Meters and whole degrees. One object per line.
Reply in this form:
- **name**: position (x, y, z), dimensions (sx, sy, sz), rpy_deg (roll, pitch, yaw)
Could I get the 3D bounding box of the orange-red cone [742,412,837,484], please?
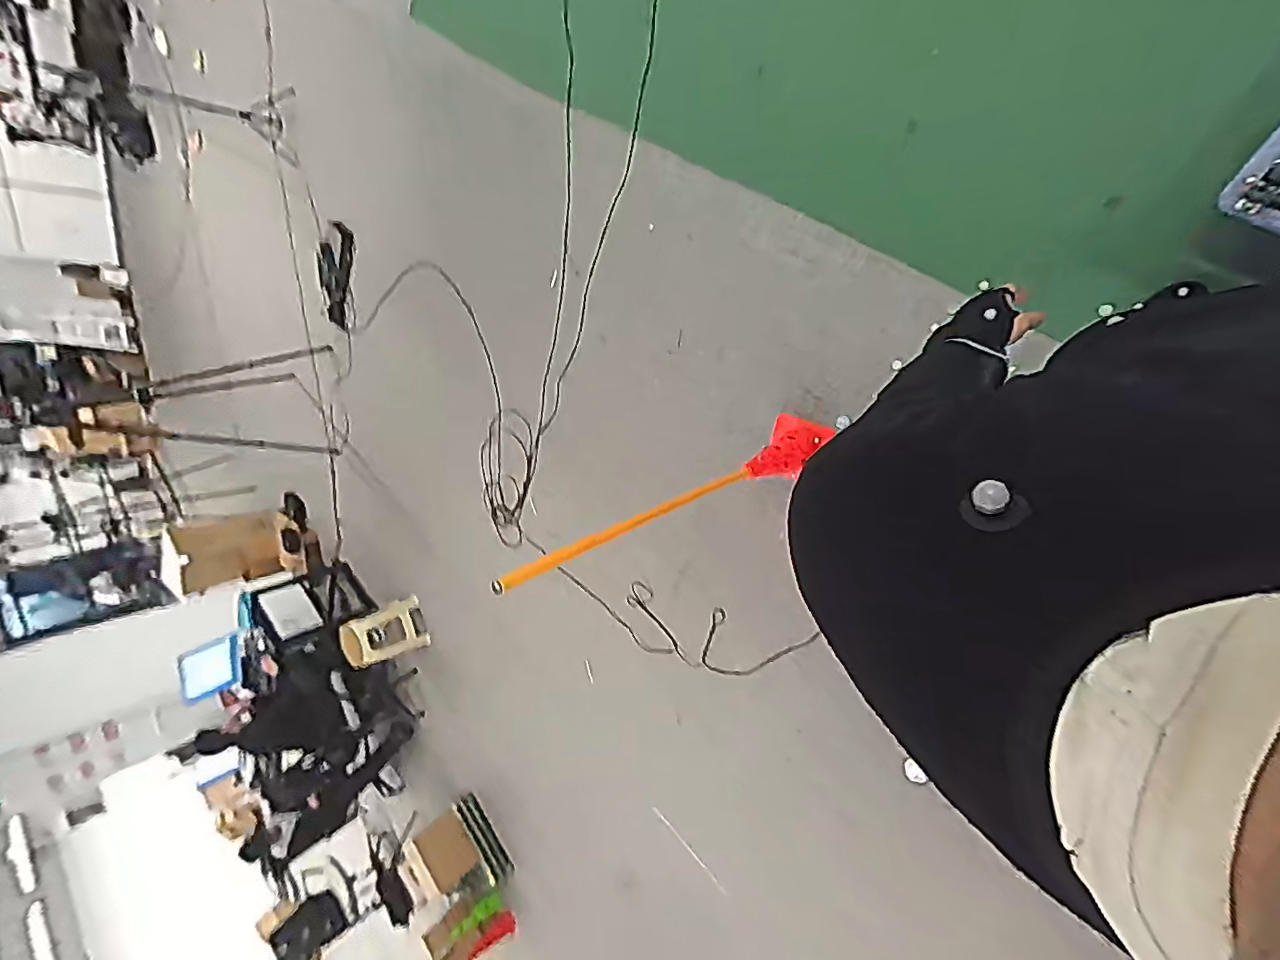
- **orange-red cone**: position (0.409, -0.071, 1.623), dimensions (0.199, 0.360, 0.198), rpy_deg (28, 119, 34)
